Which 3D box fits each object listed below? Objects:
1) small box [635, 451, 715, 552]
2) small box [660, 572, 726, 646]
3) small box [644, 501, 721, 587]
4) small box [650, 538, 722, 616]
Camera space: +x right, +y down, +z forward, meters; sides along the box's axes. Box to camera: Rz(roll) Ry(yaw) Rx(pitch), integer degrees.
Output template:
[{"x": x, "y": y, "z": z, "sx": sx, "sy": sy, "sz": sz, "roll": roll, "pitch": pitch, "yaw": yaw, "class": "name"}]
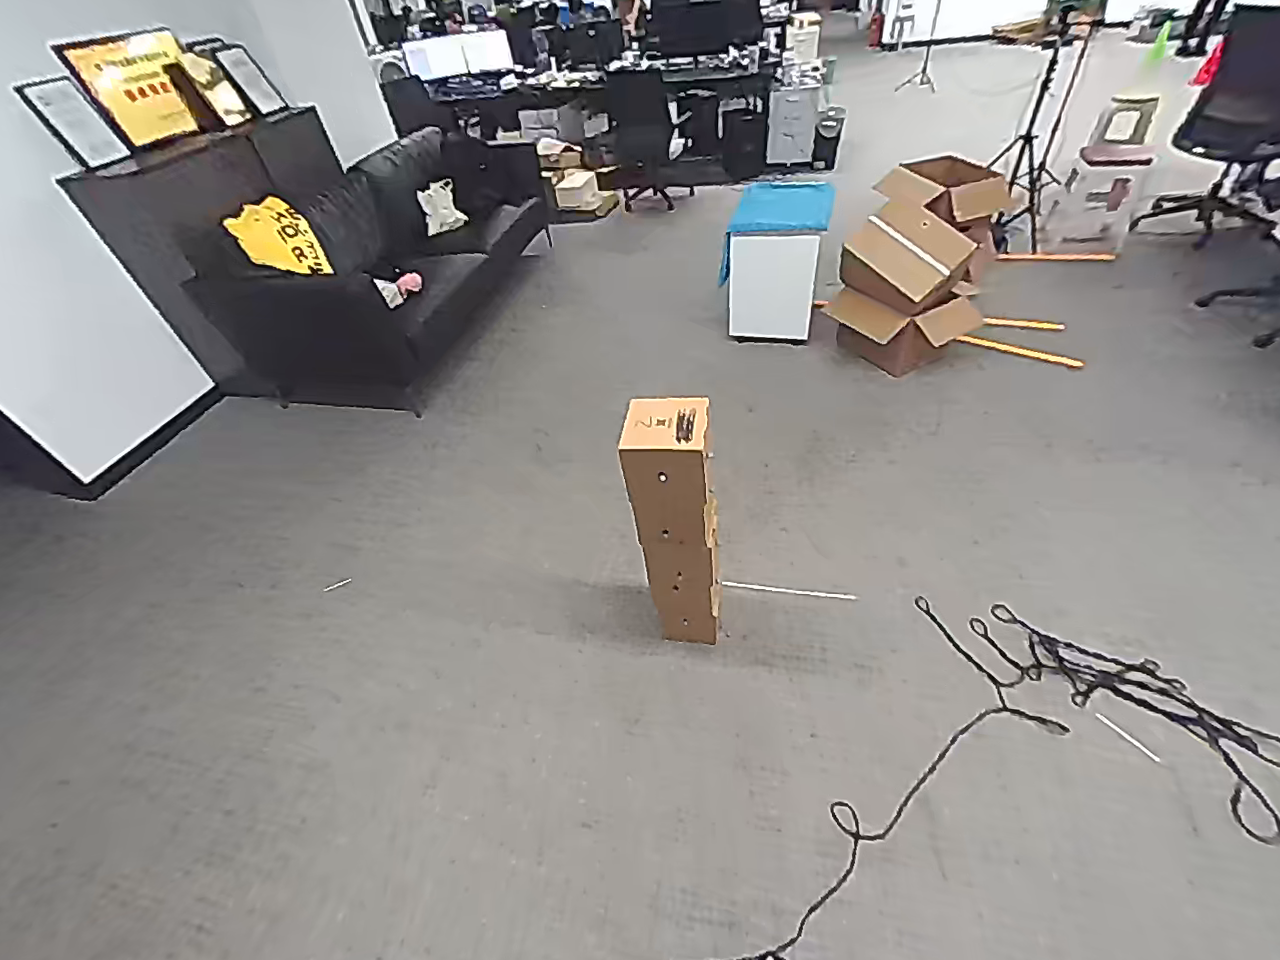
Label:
[{"x": 0.091, "y": 0.050, "z": 1.307, "sx": 0.168, "sy": 0.176, "sz": 0.179, "roll": 2, "pitch": 46, "yaw": 13, "class": "small box"}, {"x": 0.167, "y": 0.389, "z": 1.652, "sx": 0.179, "sy": 0.176, "sz": 0.168, "roll": 4, "pitch": 45, "yaw": 13, "class": "small box"}, {"x": 0.118, "y": 0.165, "z": 1.419, "sx": 0.179, "sy": 0.176, "sz": 0.168, "roll": 2, "pitch": 45, "yaw": 12, "class": "small box"}, {"x": 0.137, "y": 0.271, "z": 1.543, "sx": 0.179, "sy": 0.176, "sz": 0.168, "roll": 4, "pitch": 46, "yaw": 14, "class": "small box"}]
